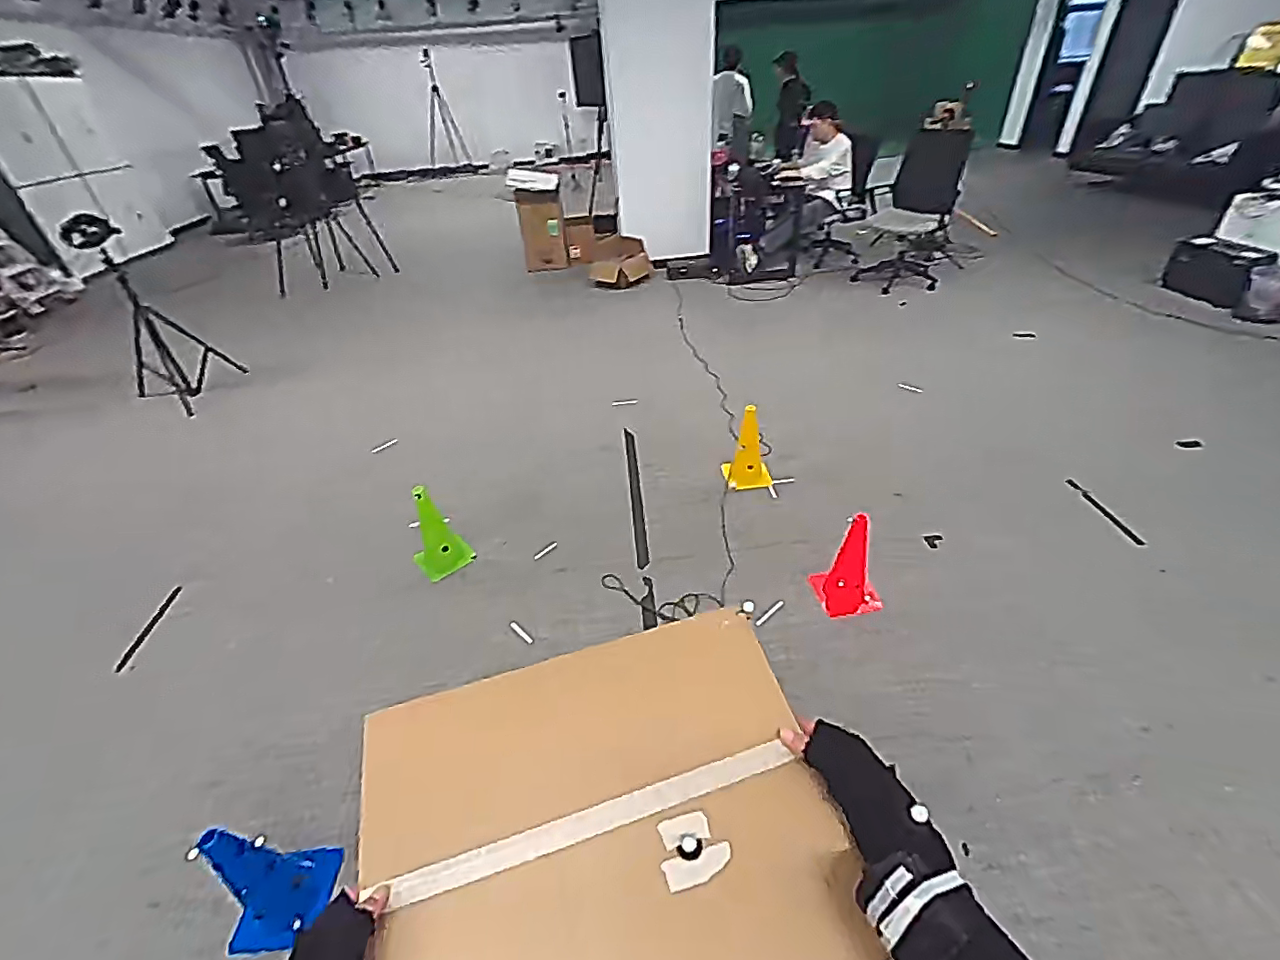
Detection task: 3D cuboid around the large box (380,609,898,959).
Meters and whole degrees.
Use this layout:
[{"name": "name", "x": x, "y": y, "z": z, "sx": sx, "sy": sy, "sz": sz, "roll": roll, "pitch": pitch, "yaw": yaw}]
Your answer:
[{"name": "large box", "x": -0.025, "y": 0.400, "z": 0.594, "sx": 0.408, "sy": 0.320, "sz": 0.320, "roll": -13, "pitch": 49, "yaw": -11}]

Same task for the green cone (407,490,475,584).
[{"name": "green cone", "x": -0.808, "y": 0.184, "z": 2.079, "sx": 0.202, "sy": 0.368, "sz": 0.200, "roll": -33, "pitch": 44, "yaw": -30}]

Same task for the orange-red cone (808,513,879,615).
[{"name": "orange-red cone", "x": 0.704, "y": 0.256, "z": 1.810, "sx": 0.198, "sy": 0.360, "sz": 0.199, "roll": -7, "pitch": 35, "yaw": -5}]

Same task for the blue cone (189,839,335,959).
[{"name": "blue cone", "x": -0.853, "y": 0.879, "z": 1.186, "sx": 0.192, "sy": 0.380, "sz": 0.193, "roll": -5, "pitch": 37, "yaw": 1}]
